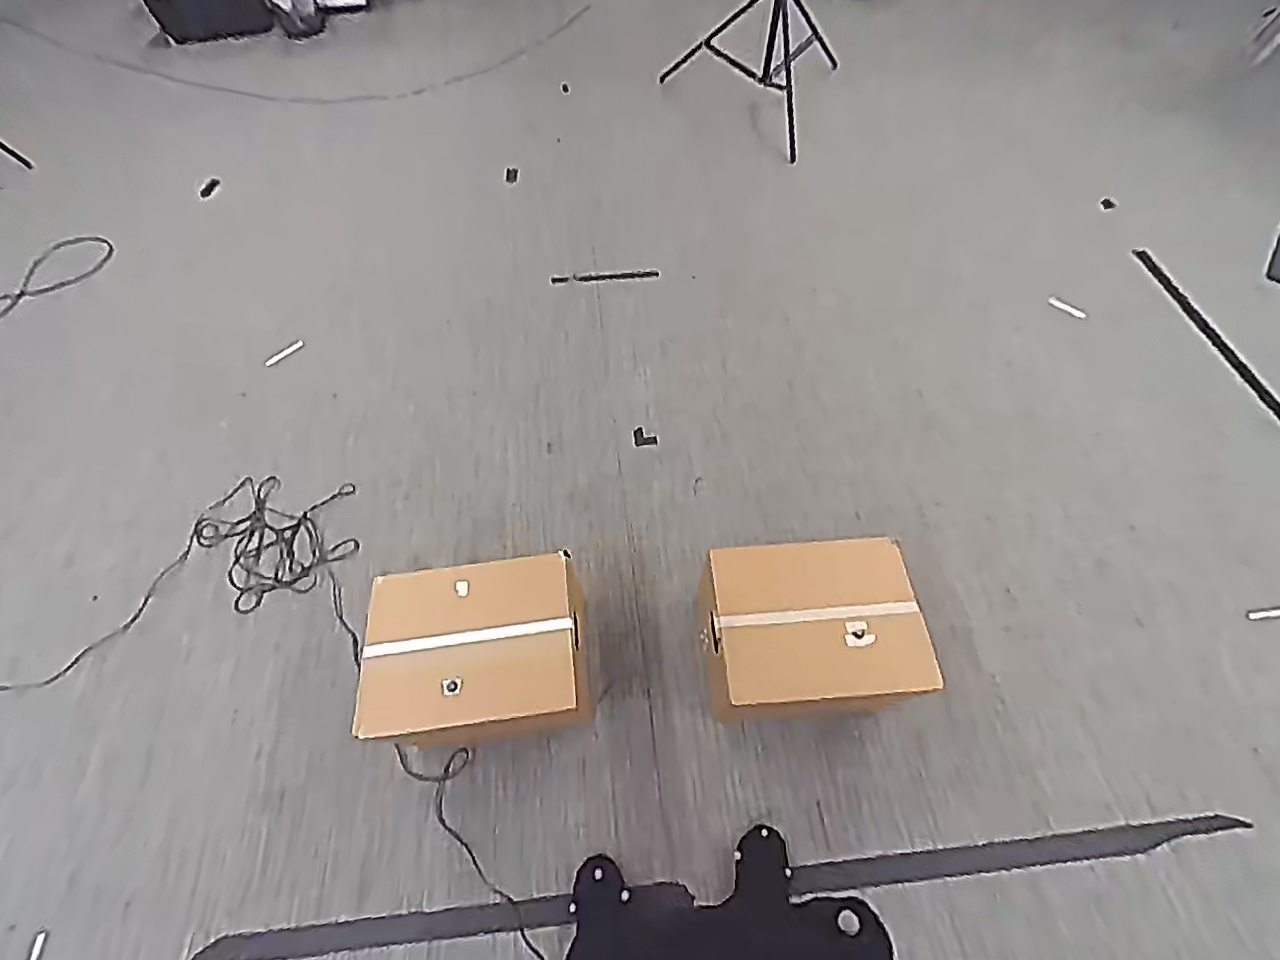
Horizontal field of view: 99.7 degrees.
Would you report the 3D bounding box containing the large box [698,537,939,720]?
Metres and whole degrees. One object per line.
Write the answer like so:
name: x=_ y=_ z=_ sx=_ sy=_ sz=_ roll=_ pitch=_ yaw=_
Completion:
large box: x=0.360 y=0.343 z=1.220 sx=0.408 sy=0.320 sz=0.320 roll=-3 pitch=61 yaw=-2
